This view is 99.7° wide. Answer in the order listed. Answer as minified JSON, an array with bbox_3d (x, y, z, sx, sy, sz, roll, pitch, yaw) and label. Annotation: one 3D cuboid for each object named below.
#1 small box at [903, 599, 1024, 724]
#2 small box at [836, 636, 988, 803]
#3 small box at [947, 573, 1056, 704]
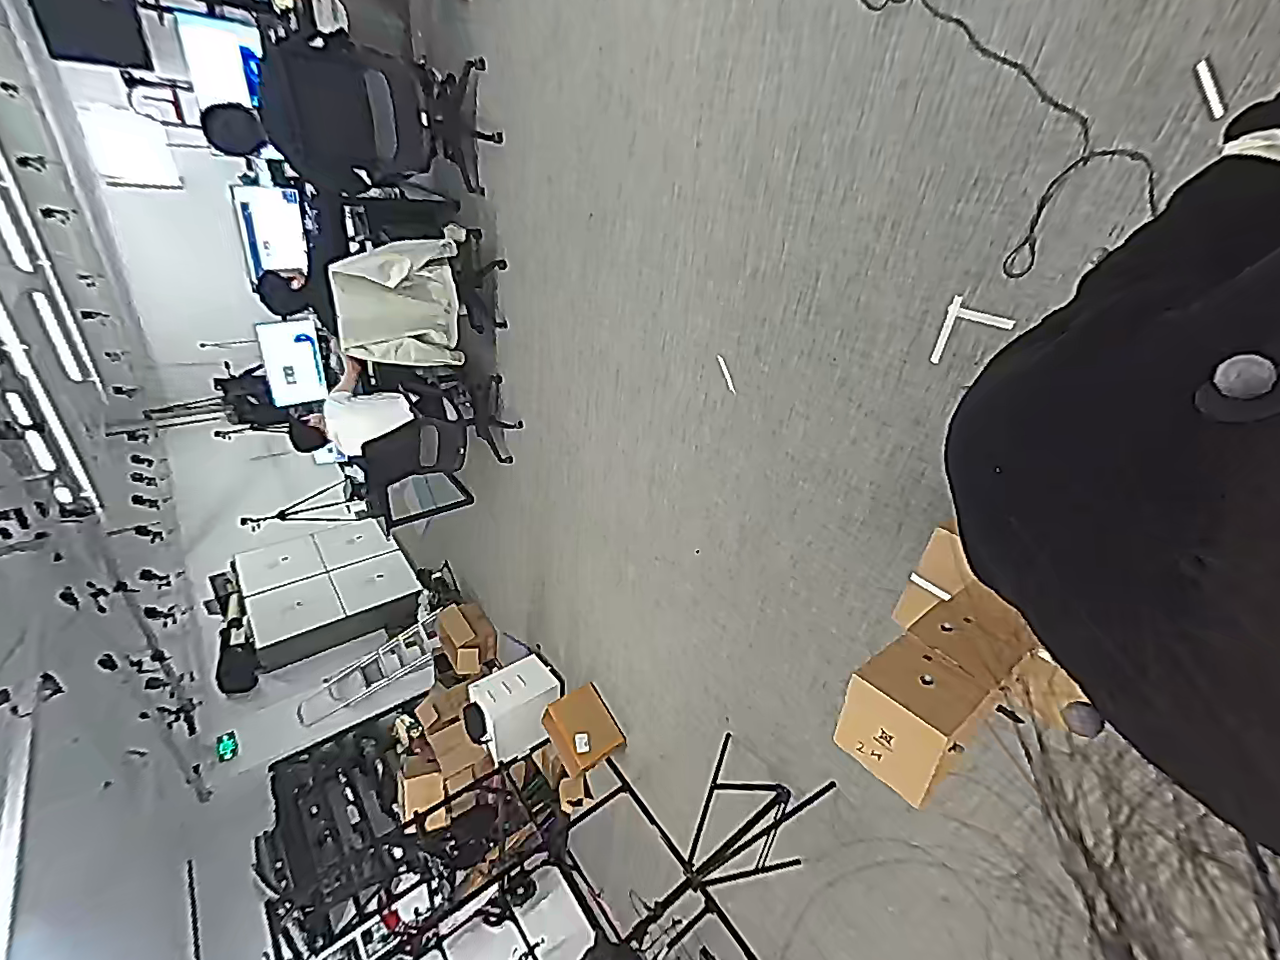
[{"bbox_3d":[0.609,0.364,1.054,0.168,0.176,0.179,35,132,42],"label":"small box"},{"bbox_3d":[0.482,0.410,0.959,0.168,0.176,0.179,31,128,45],"label":"small box"},{"bbox_3d":[0.737,0.330,1.147,0.168,0.176,0.179,36,130,40],"label":"small box"}]
